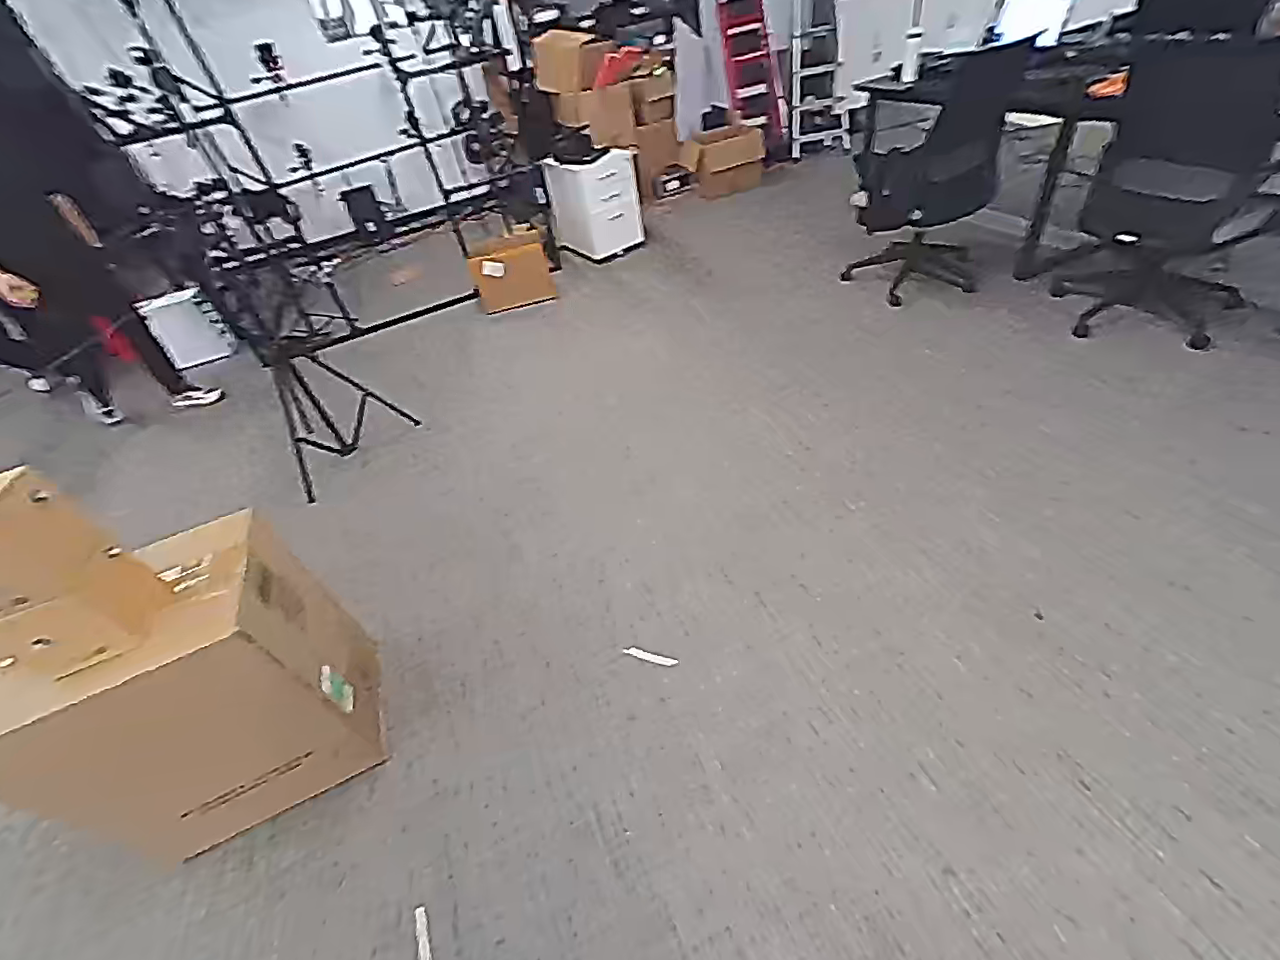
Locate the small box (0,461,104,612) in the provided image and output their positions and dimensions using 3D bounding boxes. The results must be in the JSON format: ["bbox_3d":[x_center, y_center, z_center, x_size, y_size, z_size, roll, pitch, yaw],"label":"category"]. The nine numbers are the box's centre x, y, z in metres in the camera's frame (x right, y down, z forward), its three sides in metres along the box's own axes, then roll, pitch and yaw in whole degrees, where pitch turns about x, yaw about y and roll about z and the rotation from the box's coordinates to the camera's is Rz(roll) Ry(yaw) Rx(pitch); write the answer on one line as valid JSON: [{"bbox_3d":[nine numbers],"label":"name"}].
[{"bbox_3d":[-1.081,0.102,0.916,0.168,0.176,0.179,-21,42,-8],"label":"small box"}]

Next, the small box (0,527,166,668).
[{"bbox_3d":[-1.053,0.228,1.020,0.168,0.176,0.179,-22,42,-10],"label":"small box"}]
